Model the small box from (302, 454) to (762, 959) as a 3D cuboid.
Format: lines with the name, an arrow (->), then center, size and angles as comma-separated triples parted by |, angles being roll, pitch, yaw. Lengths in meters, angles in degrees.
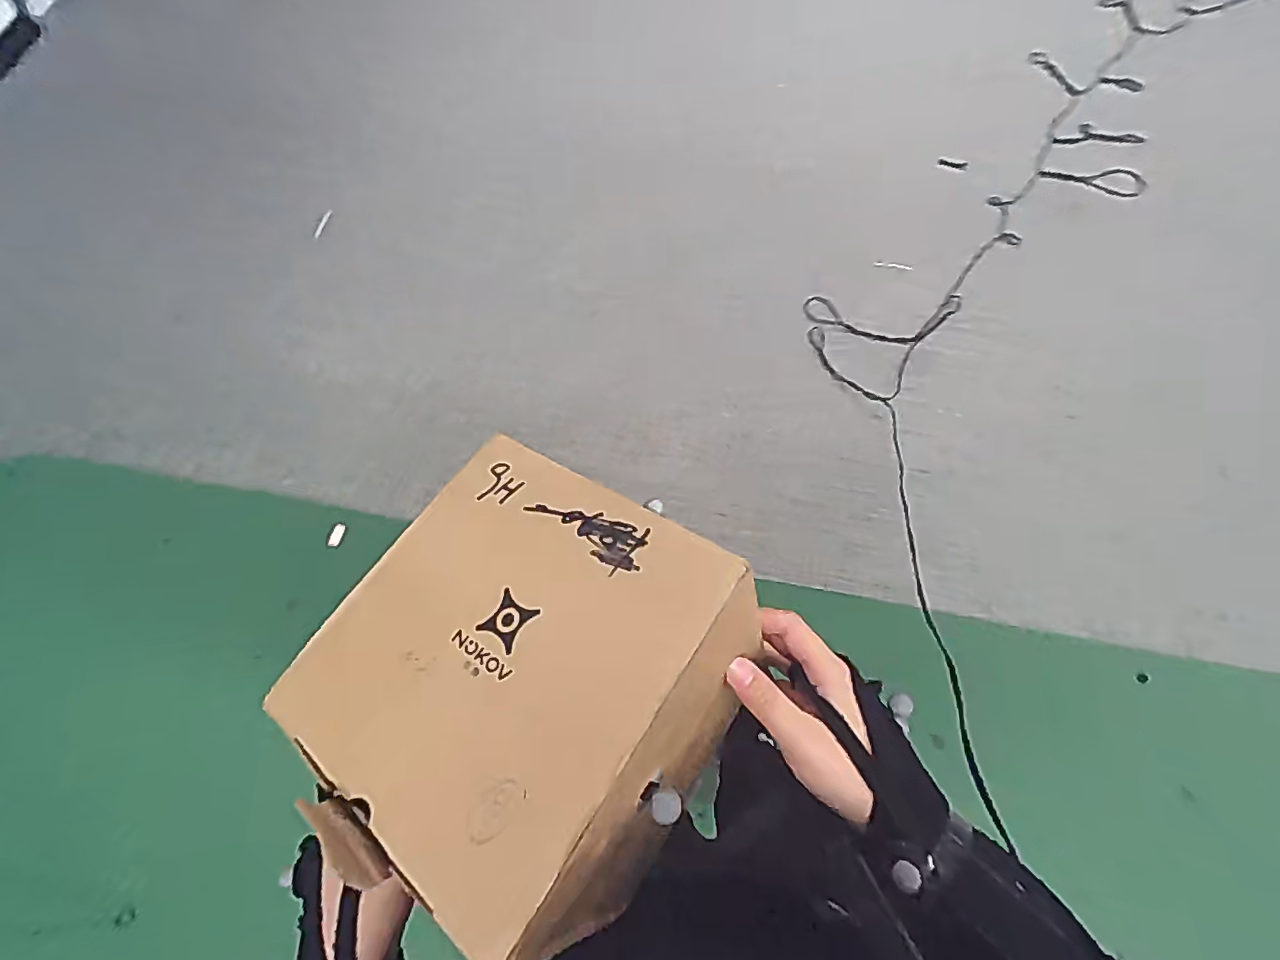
small box -> -0.038, 0.122, 0.320 | 0.168, 0.176, 0.179 | 27, 69, 28
